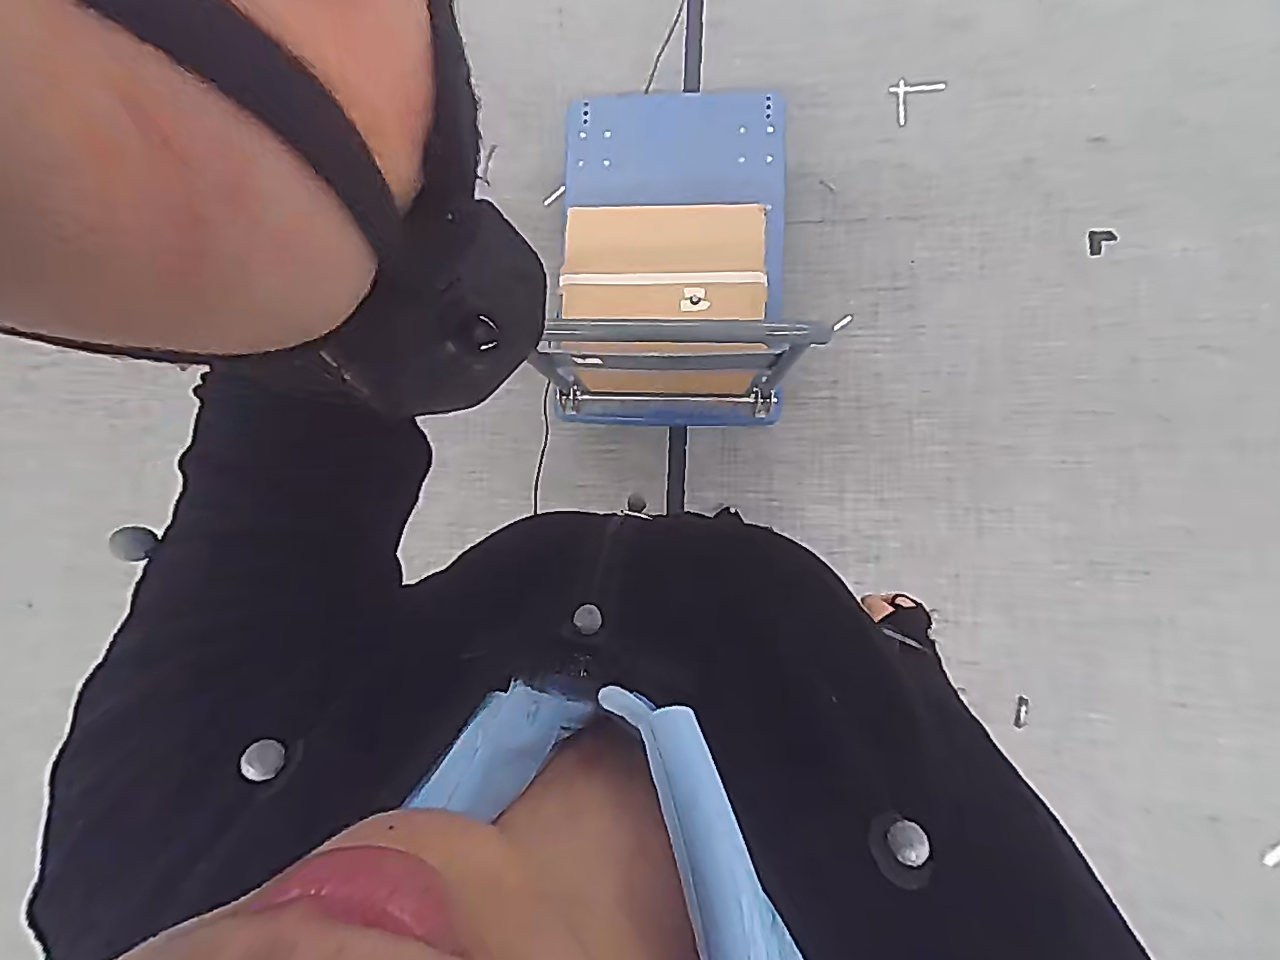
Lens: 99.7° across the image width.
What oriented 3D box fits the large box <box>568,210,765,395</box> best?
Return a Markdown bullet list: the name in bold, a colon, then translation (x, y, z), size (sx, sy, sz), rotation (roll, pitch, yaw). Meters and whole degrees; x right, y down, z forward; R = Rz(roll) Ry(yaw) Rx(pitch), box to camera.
- **large box**: translation (0.062, -0.384, 1.244), size (0.408, 0.320, 0.320), rotation (1, 86, 5)
